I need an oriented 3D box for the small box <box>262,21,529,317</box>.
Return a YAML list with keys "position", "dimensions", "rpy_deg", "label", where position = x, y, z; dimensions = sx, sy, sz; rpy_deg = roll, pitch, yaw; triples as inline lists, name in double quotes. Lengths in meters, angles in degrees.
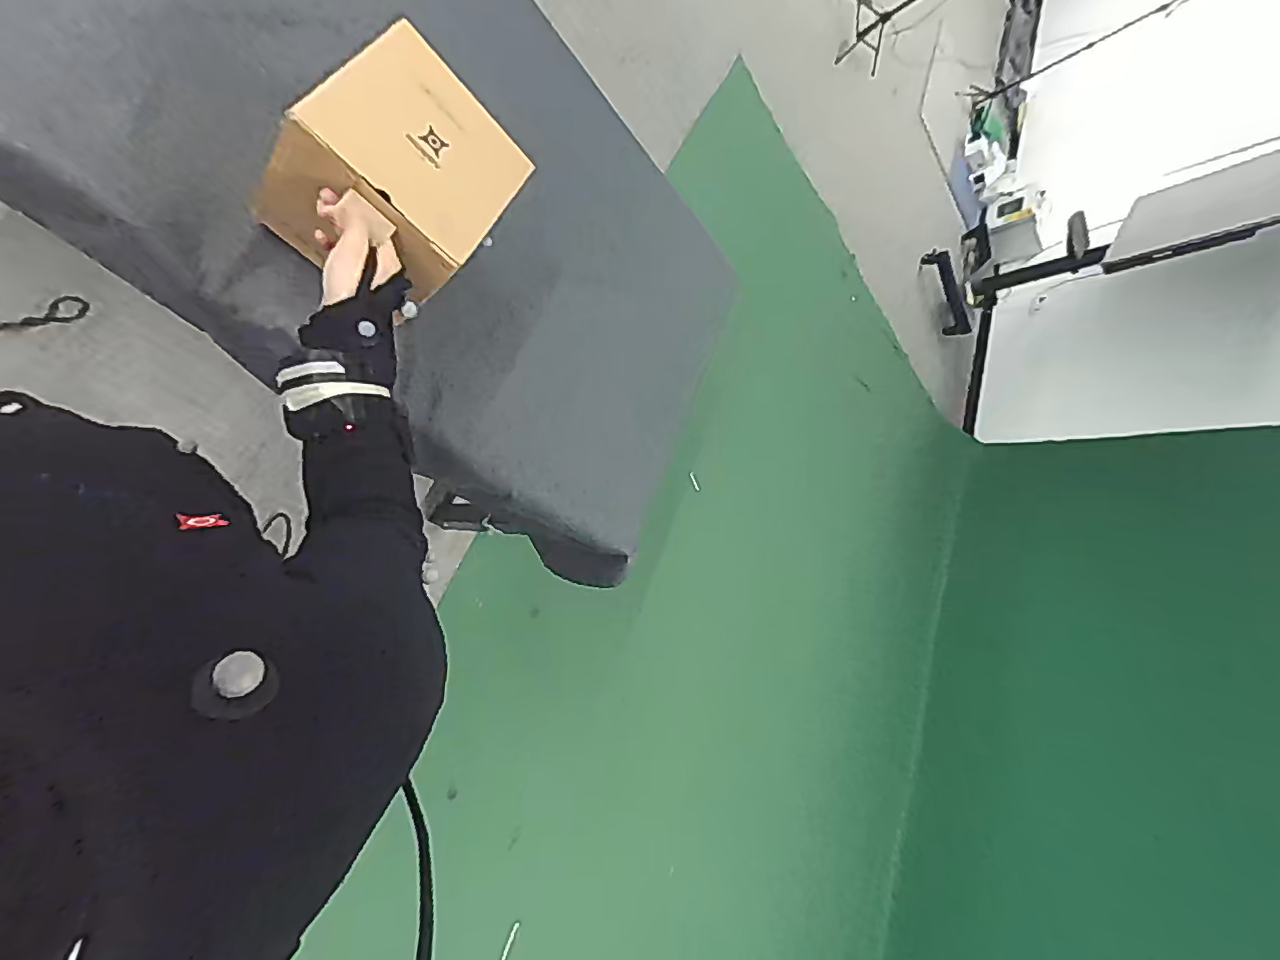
- position: [-0.253, -0.301, 0.560]
  dimensions: [0.168, 0.176, 0.179]
  rpy_deg: [41, 55, -34]
  label: "small box"
